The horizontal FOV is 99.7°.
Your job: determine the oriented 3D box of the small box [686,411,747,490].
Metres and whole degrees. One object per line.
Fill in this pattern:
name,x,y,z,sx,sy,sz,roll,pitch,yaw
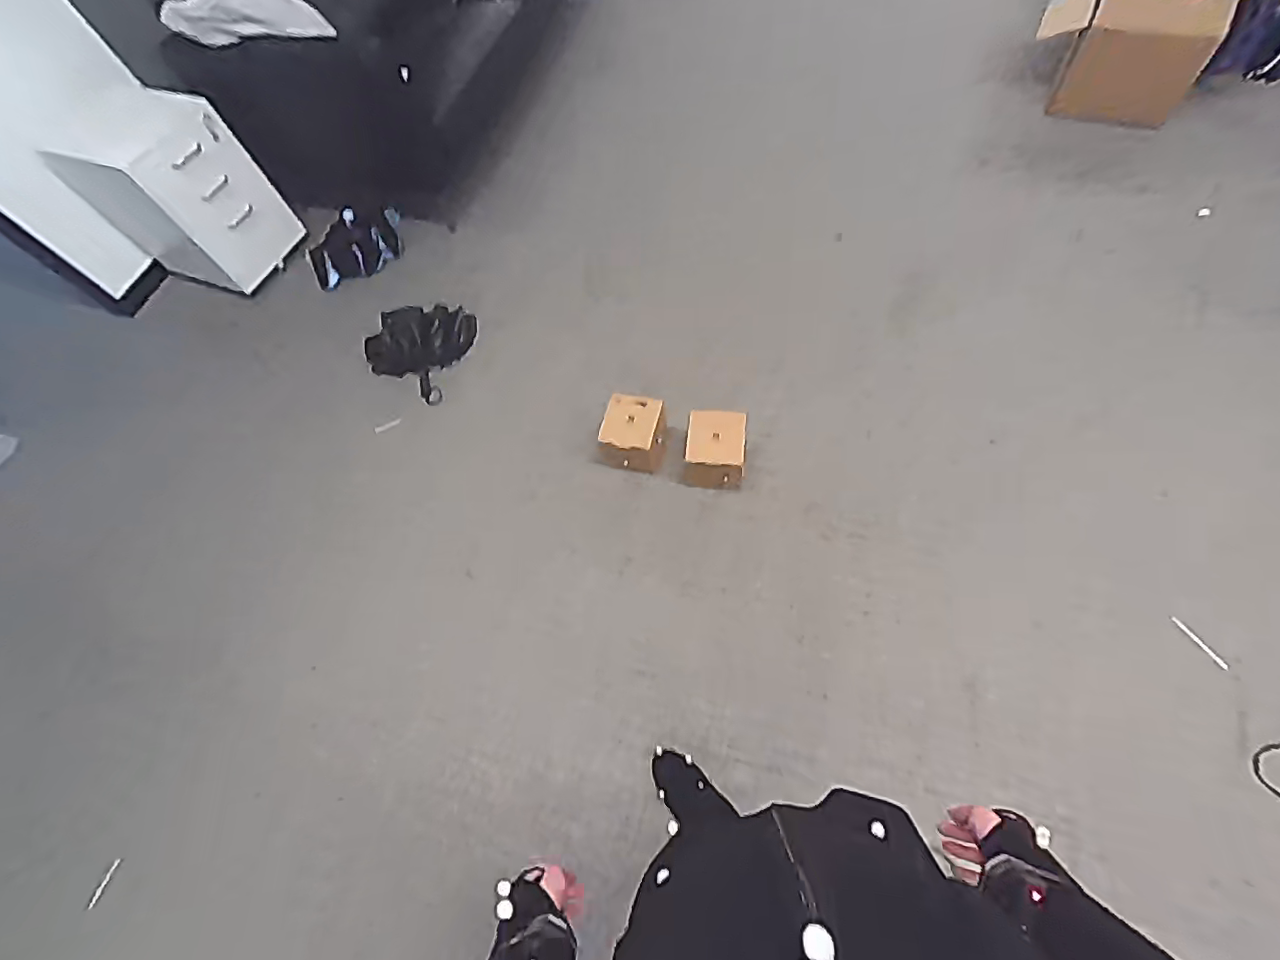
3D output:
small box,0.229,-0.084,1.617,0.168,0.176,0.179,4,62,9

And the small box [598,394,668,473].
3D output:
small box,-0.014,-0.139,1.678,0.168,0.176,0.179,11,66,13
